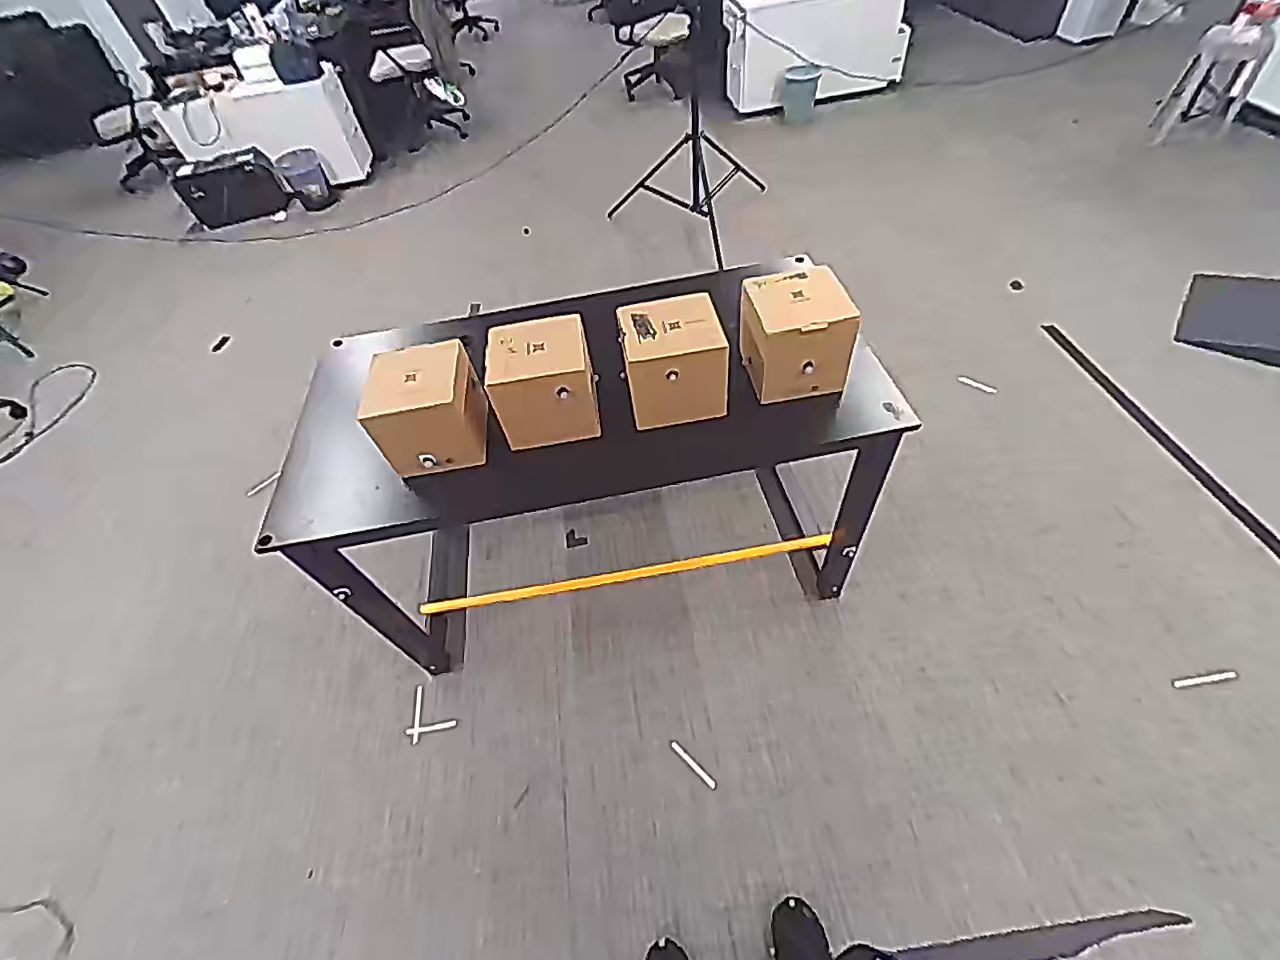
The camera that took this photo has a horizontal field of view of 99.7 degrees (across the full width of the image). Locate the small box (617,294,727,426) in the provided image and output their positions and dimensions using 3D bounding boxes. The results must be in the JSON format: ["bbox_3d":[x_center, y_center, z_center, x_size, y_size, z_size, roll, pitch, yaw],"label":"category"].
[{"bbox_3d":[0.061,-0.219,1.015,0.179,0.176,0.168,-9,51,-1],"label":"small box"}]

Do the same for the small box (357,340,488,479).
[{"bbox_3d":[-0.391,-0.129,1.008,0.168,0.176,0.179,-12,52,0],"label":"small box"}]

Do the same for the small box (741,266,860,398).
[{"bbox_3d":[0.291,-0.272,1.024,0.168,0.176,0.179,-9,52,0],"label":"small box"}]
